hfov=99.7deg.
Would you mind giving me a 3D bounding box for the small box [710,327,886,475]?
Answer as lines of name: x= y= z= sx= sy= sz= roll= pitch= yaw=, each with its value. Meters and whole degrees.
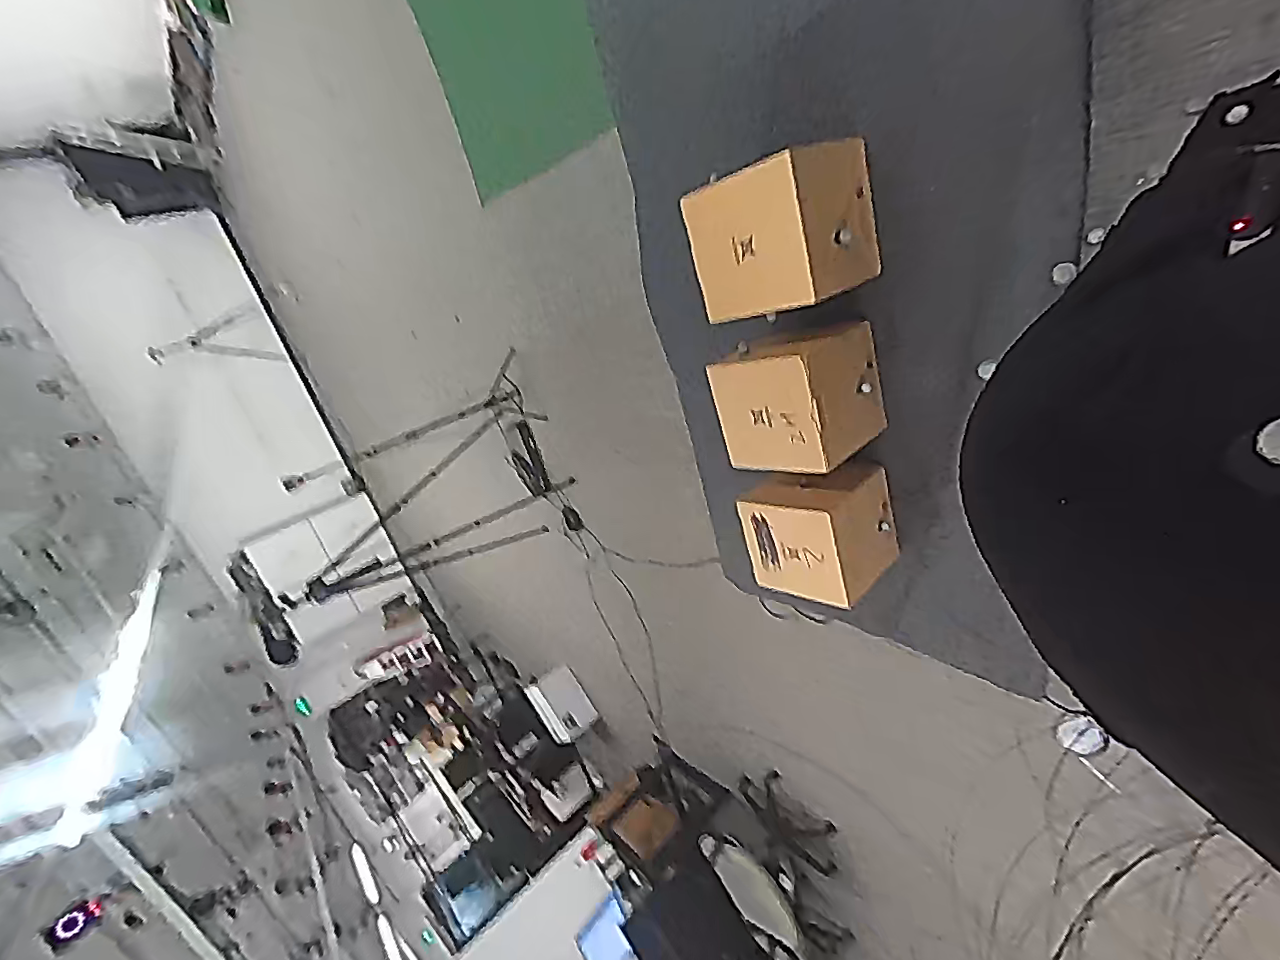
small box: x=0.239 y=-0.120 z=0.816 sx=0.179 sy=0.176 sz=0.168 roll=6 pitch=120 yaw=51
